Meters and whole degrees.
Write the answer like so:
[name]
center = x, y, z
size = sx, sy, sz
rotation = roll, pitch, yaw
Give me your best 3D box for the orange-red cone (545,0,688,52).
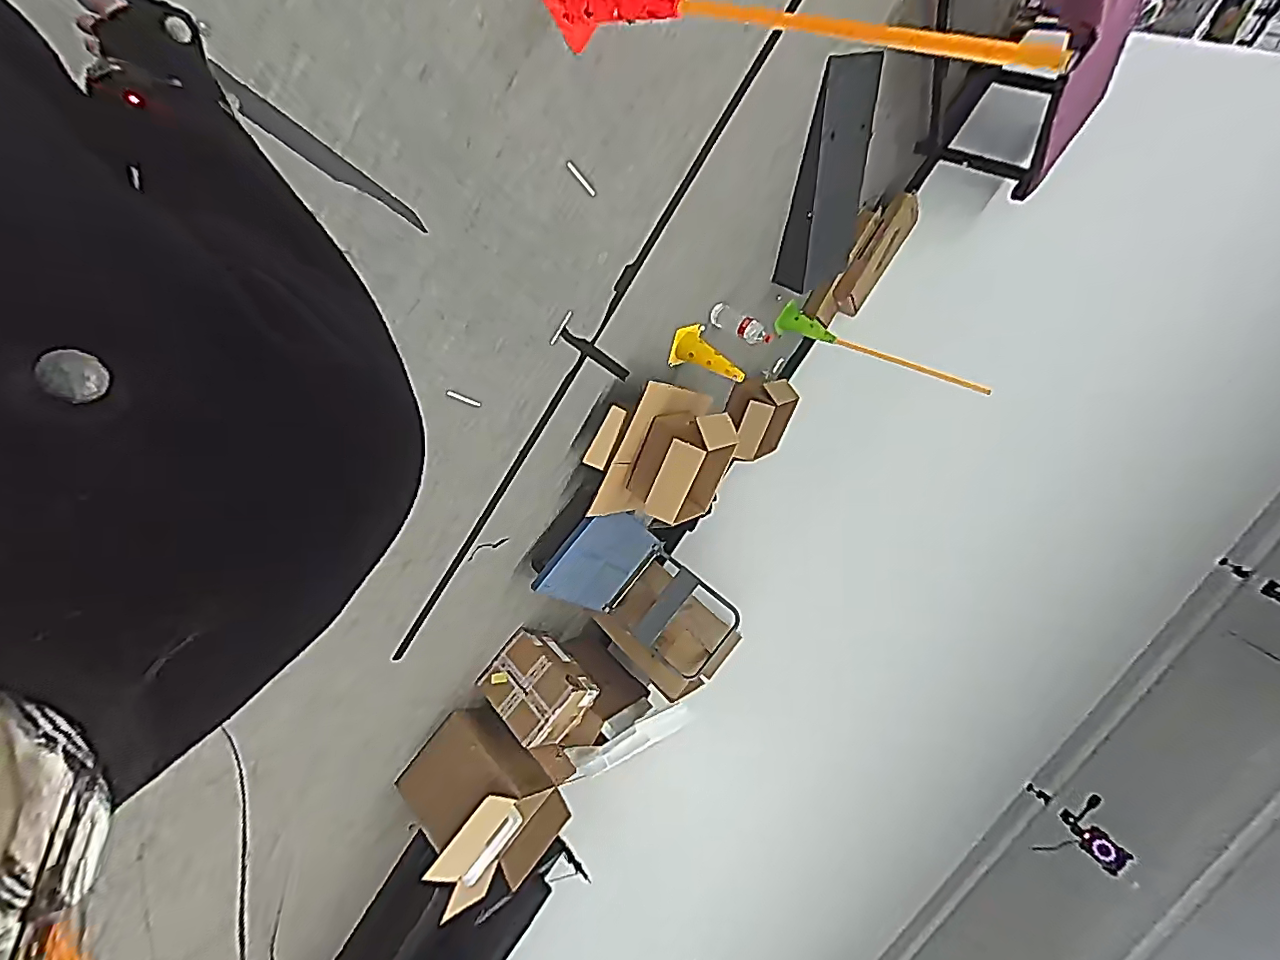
[orange-red cone]
center = -0.029, -1.141, 1.281
size = 0.198, 0.360, 0.199
rotation = -55, 154, 4
